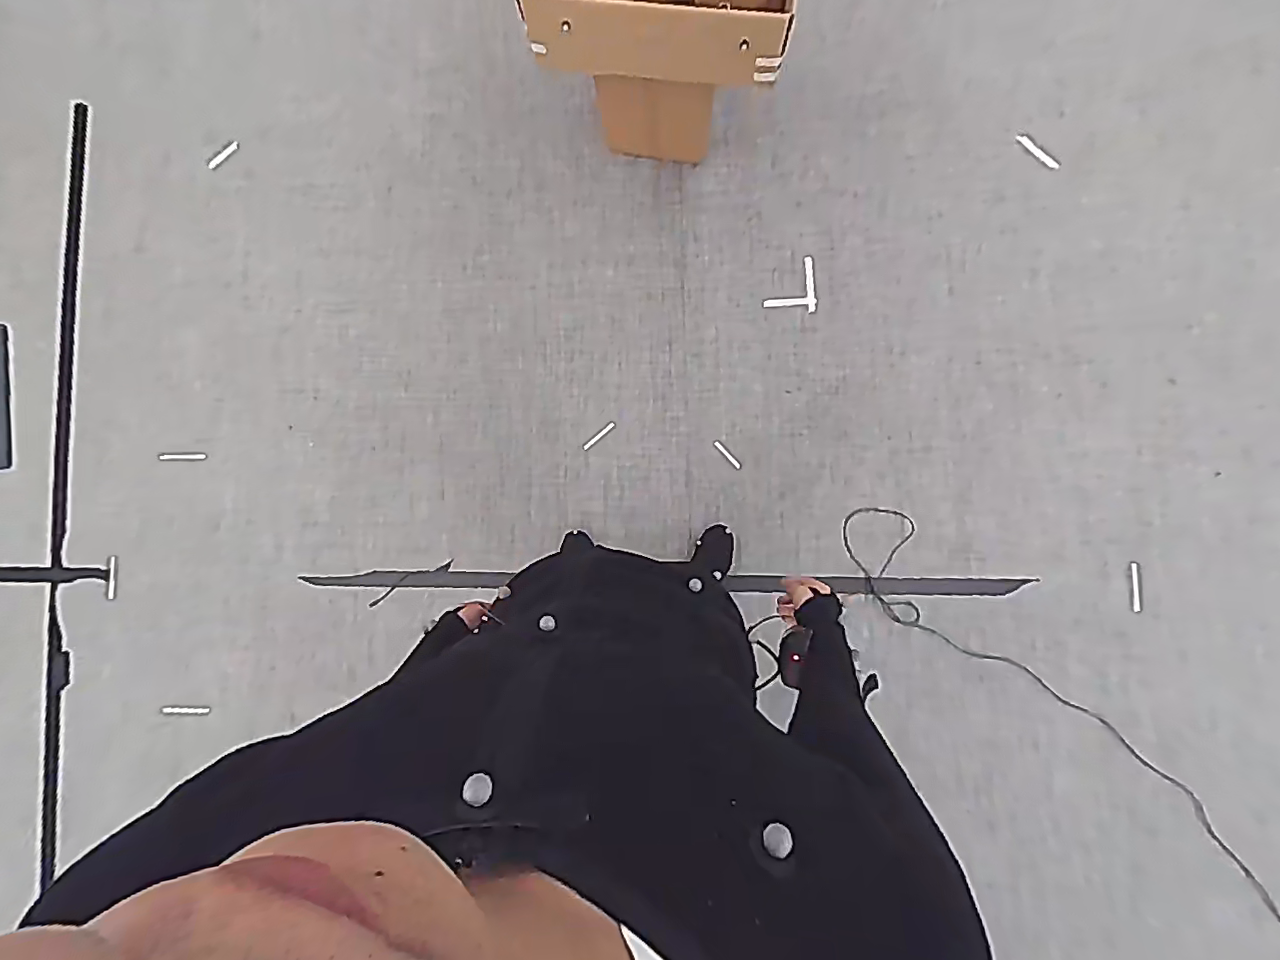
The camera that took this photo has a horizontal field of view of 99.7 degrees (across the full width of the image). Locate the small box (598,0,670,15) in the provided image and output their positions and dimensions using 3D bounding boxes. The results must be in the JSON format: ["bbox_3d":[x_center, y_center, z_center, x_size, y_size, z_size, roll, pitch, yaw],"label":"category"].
[{"bbox_3d":[-0.005,-1.208,1.224,0.179,0.176,0.168,11,86,3],"label":"small box"}]
